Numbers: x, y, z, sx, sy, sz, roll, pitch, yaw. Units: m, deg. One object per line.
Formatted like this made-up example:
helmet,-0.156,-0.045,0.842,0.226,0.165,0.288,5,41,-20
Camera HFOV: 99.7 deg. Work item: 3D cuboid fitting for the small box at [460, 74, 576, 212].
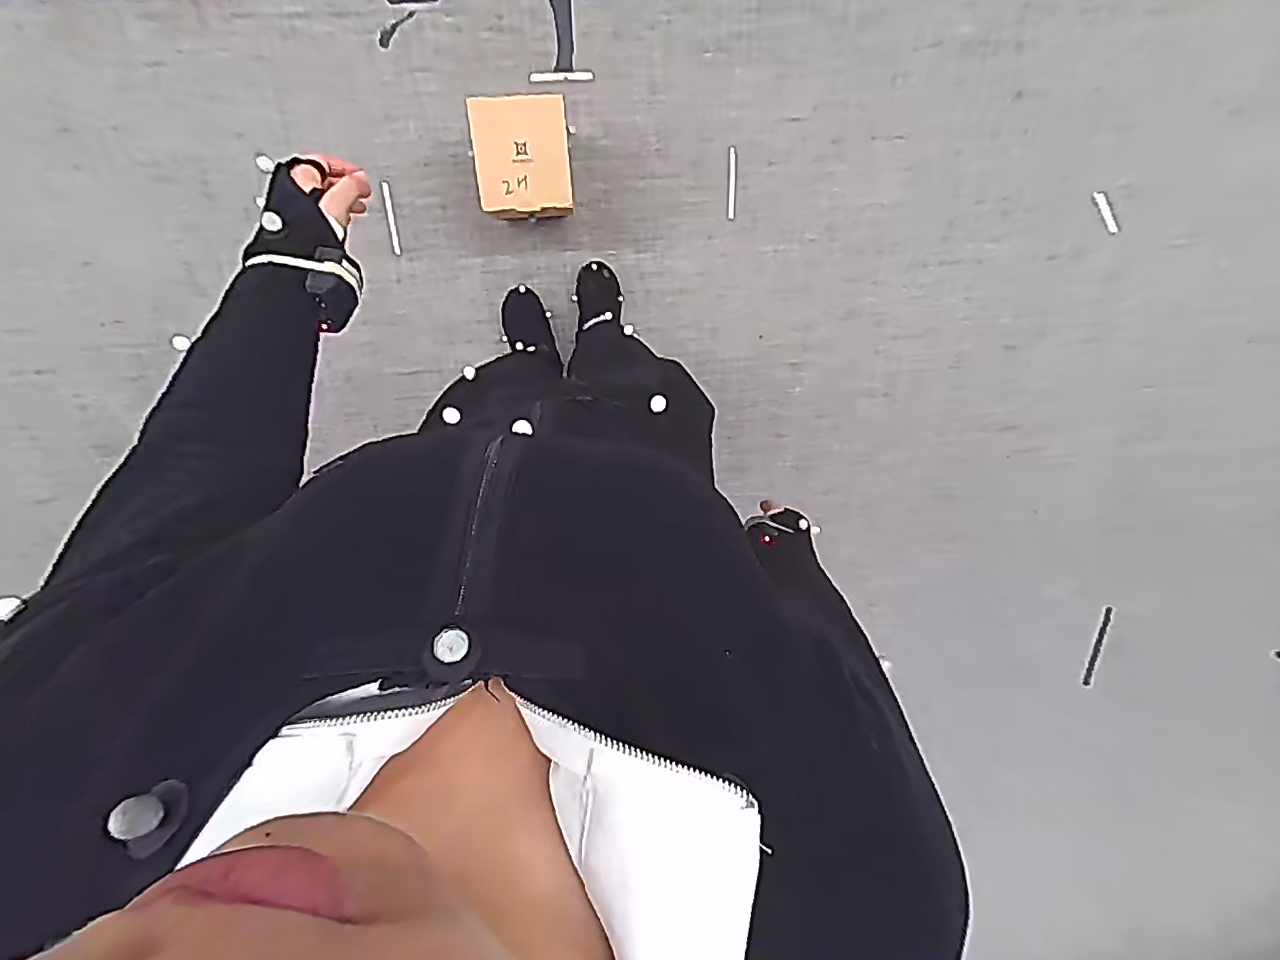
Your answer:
small box,-0.201,-0.569,0.933,0.168,0.176,0.179,-5,113,-4
